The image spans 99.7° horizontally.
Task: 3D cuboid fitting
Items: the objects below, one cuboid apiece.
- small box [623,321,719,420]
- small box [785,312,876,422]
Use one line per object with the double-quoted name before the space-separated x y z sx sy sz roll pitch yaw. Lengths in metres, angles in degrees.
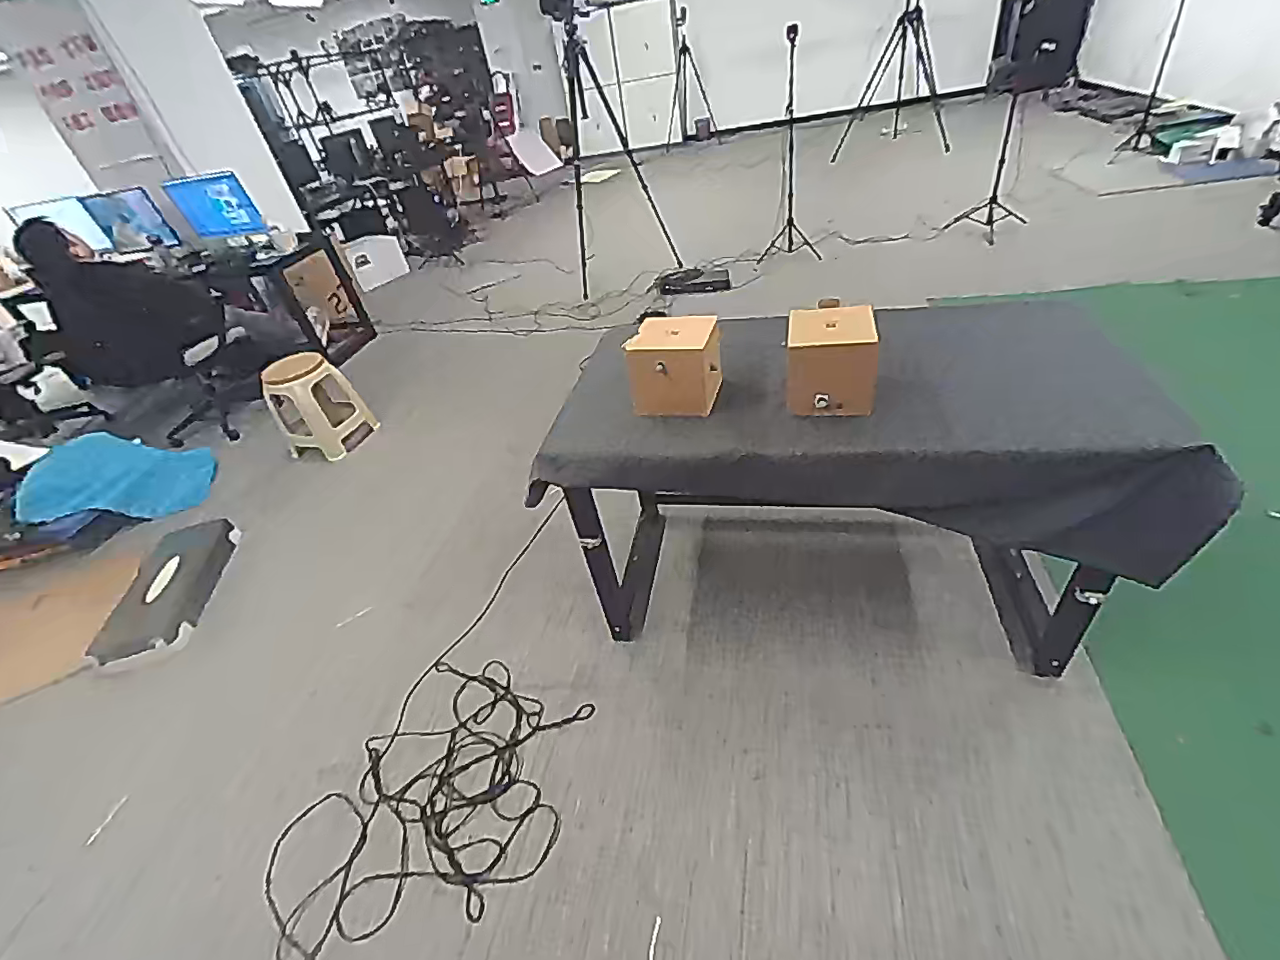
"small box" 0.081 -0.249 1.234 0.179 0.176 0.168 4 40 19
"small box" 0.395 -0.239 1.144 0.168 0.176 0.179 0 40 16
